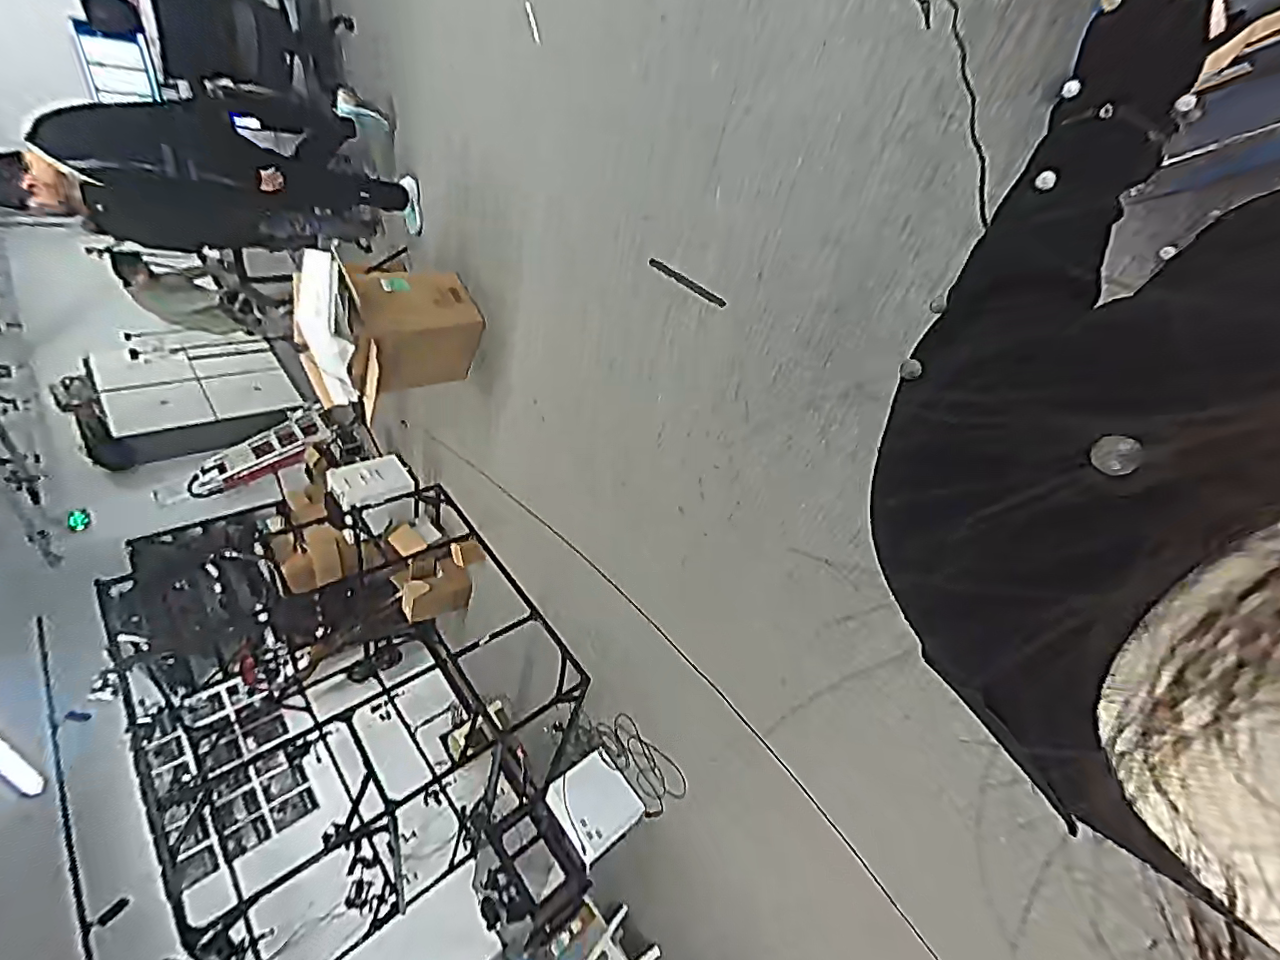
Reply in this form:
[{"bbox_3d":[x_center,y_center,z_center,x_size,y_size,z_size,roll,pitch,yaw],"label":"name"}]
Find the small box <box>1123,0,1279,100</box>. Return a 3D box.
[{"bbox_3d":[0.811,-0.674,0.764,0.168,0.176,0.179,-6,103,49],"label":"small box"}]
